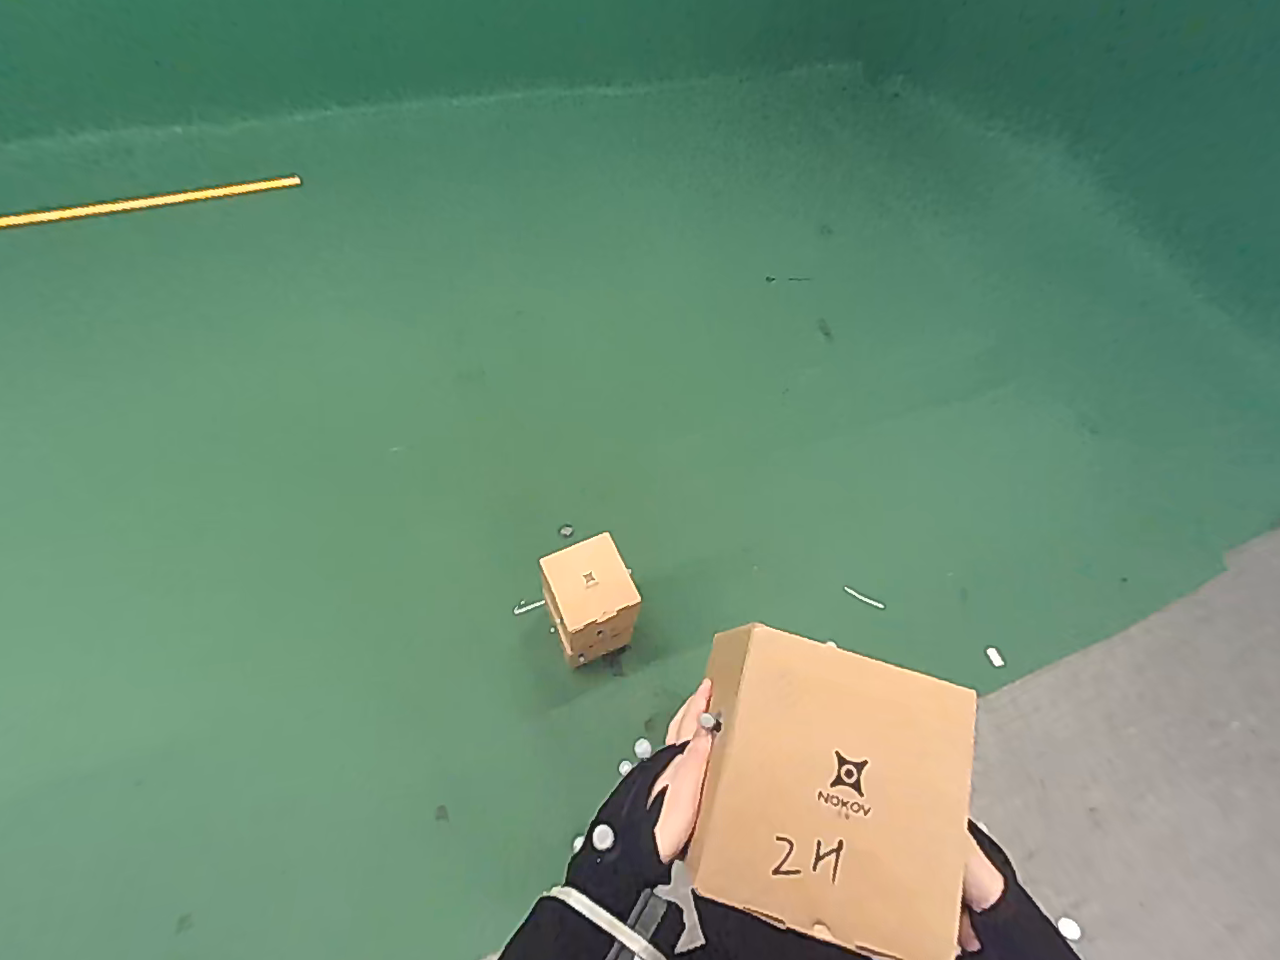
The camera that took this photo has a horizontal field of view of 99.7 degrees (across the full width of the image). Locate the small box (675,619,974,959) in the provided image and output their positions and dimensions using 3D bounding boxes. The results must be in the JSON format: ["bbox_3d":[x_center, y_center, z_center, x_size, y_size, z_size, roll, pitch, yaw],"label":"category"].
[{"bbox_3d":[0.132,0.229,0.437,0.168,0.176,0.179,17,71,3],"label":"small box"}]

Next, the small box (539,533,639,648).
[{"bbox_3d":[-0.119,0.250,1.211,0.168,0.176,0.179,-21,65,-17],"label":"small box"}]
